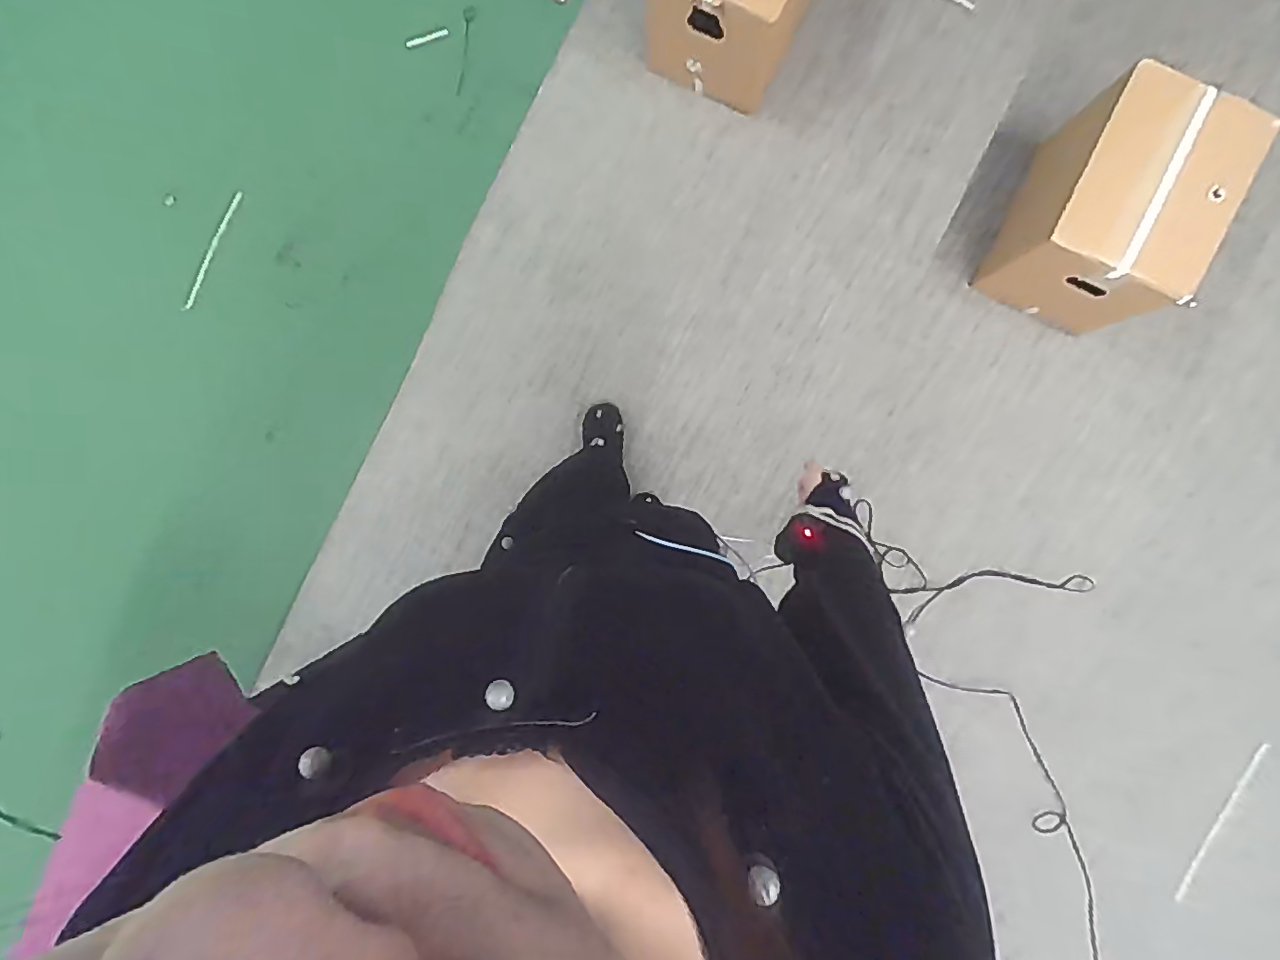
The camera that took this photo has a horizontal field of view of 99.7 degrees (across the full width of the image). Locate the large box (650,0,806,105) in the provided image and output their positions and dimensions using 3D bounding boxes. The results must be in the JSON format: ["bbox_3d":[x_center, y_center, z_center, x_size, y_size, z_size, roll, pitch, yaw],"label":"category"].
[{"bbox_3d":[0.241,-1.214,1.270,0.320,0.320,0.408,26,93,2],"label":"large box"}]
